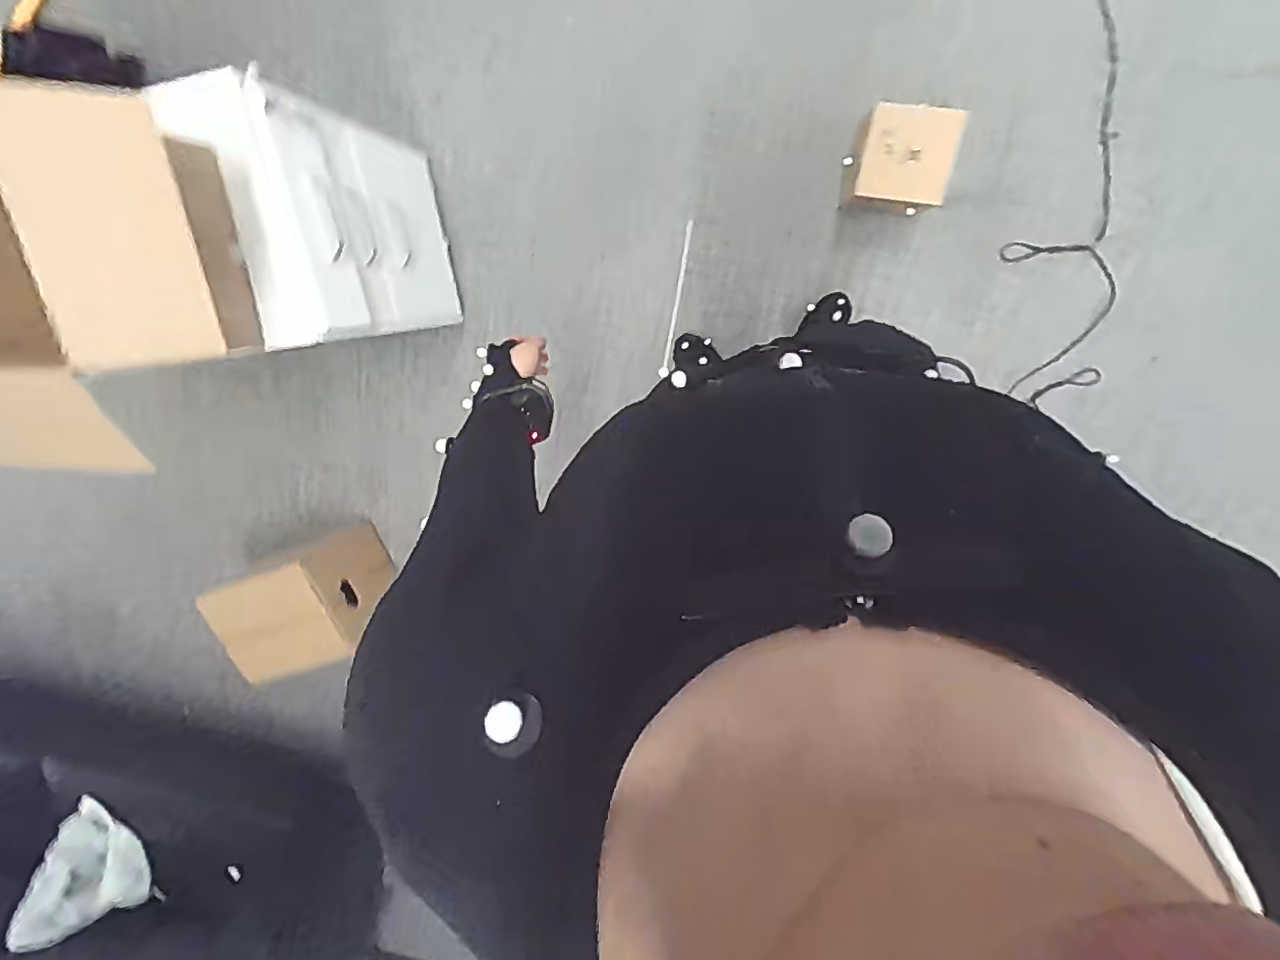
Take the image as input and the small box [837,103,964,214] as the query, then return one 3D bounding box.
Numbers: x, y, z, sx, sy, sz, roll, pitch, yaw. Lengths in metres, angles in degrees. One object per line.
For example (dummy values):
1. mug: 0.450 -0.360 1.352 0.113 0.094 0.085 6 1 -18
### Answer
1. small box: 0.536 -0.669 1.142 0.179 0.176 0.168 9 110 6
